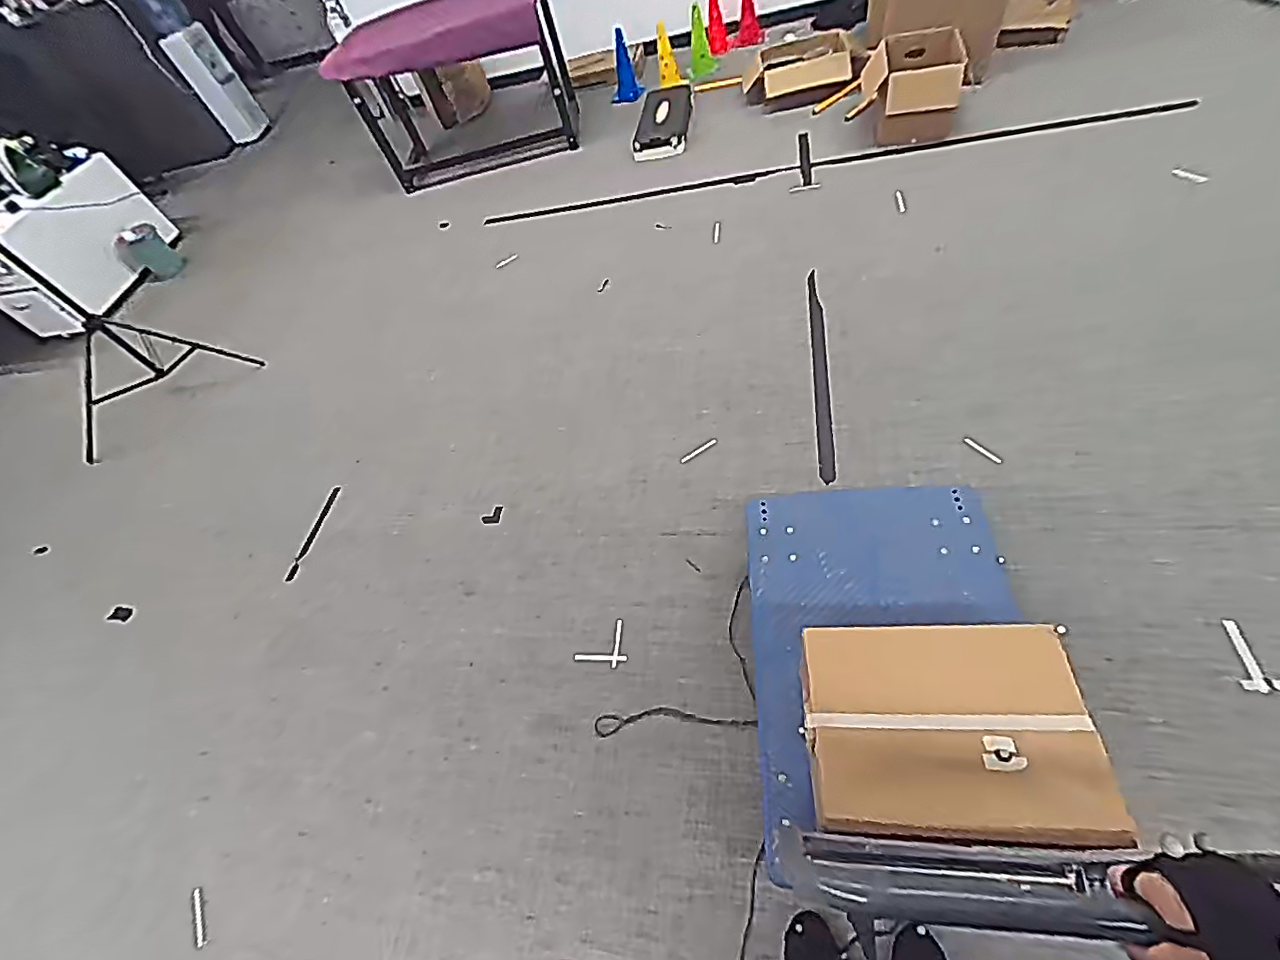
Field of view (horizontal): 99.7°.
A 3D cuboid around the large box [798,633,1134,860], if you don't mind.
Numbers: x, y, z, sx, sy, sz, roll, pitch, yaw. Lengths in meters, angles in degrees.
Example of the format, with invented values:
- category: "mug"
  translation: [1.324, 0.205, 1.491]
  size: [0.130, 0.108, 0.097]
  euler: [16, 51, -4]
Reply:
- category: "large box"
  translation: [0.508, 0.479, 0.964]
  size: [0.408, 0.320, 0.320]
  euler: [-4, 55, 12]
